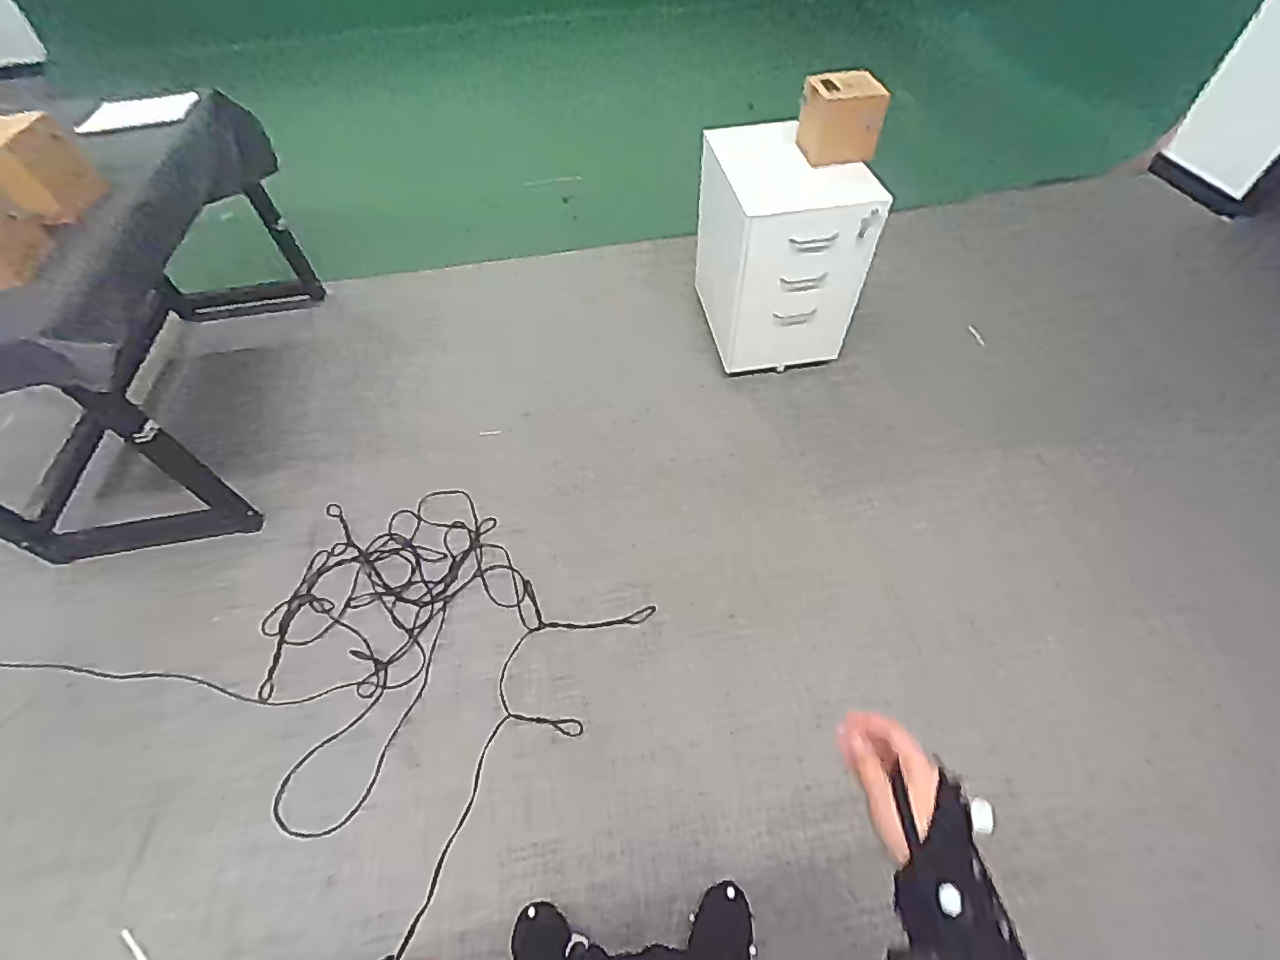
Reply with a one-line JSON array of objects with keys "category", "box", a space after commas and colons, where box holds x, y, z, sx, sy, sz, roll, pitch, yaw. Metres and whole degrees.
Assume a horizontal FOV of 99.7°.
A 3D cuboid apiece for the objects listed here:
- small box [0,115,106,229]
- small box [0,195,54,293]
[{"category": "small box", "box": [-1.372, -0.680, 1.208, 0.168, 0.176, 0.179, -7, 54, -2]}, {"category": "small box", "box": [-1.333, -0.473, 1.057, 0.179, 0.176, 0.168, -14, 54, -6]}]
